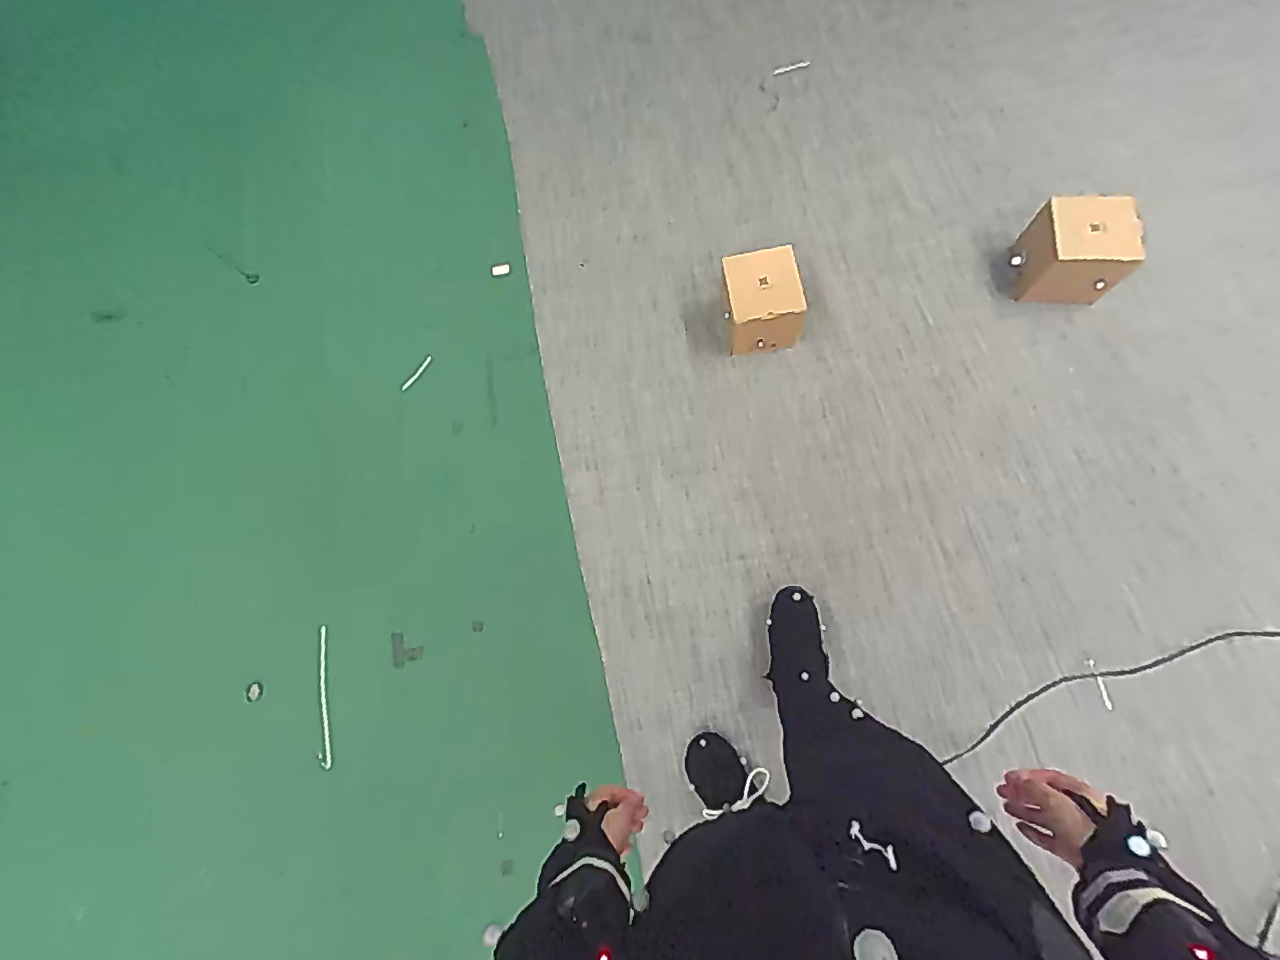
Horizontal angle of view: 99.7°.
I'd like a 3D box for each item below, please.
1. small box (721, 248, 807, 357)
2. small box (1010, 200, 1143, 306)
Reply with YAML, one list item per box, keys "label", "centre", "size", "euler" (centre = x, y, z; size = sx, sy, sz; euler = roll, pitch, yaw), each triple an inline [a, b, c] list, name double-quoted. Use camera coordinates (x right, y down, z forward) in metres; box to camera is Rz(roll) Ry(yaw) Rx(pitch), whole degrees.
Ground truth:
- label: "small box"
  centre: [0.293, -0.426, 1.316]
  size: [0.168, 0.176, 0.179]
  euler: [-10, 75, 4]
- label: "small box"
  centre: [1.005, -0.523, 1.260]
  size: [0.179, 0.176, 0.168]
  euler: [2, 74, 8]
